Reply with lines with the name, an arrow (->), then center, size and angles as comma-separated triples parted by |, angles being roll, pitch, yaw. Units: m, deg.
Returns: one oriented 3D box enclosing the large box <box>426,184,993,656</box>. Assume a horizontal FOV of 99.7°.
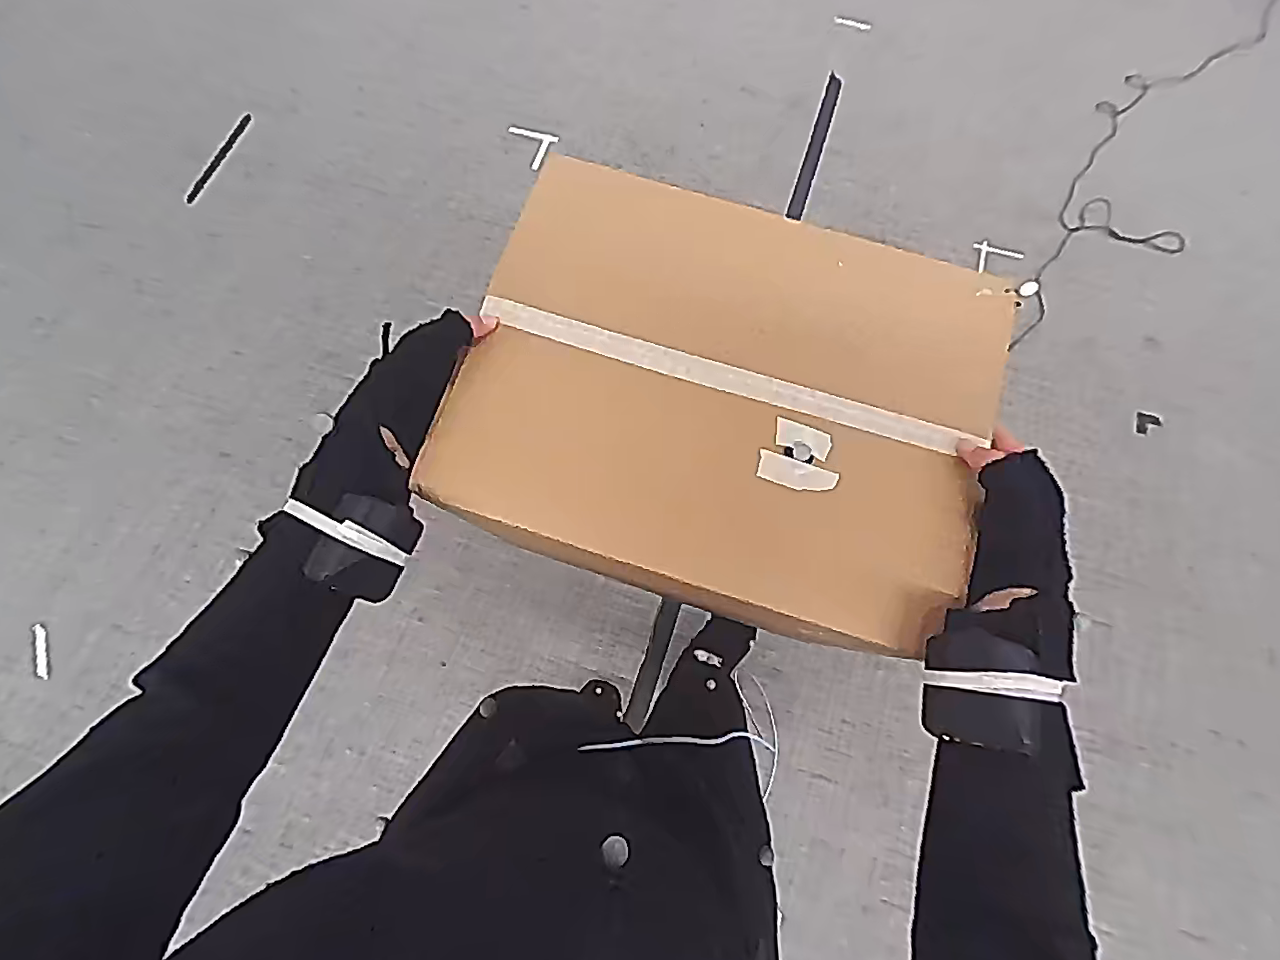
large box -> 0.063, -0.032, 0.576 | 0.408, 0.320, 0.320 | 17, 77, 3
